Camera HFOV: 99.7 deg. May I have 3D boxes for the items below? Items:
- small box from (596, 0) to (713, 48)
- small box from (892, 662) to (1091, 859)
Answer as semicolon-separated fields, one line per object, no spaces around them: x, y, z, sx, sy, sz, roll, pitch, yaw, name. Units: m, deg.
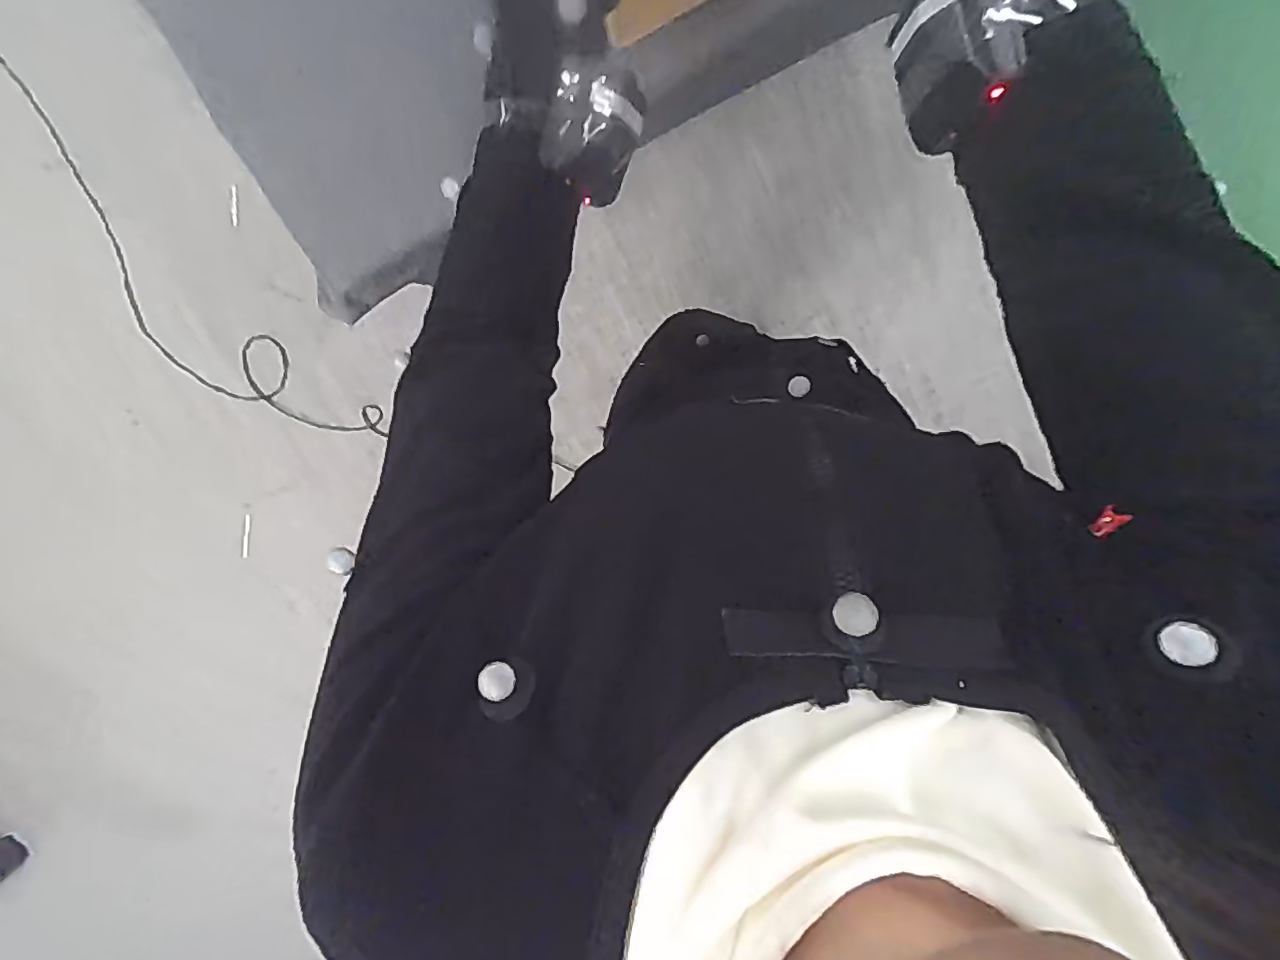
0.014;-0.527;0.458;0.179;0.176;0.168;-23;102;11;small box
0.523;0.420;0.830;0.168;0.176;0.179;-30;100;11;small box
